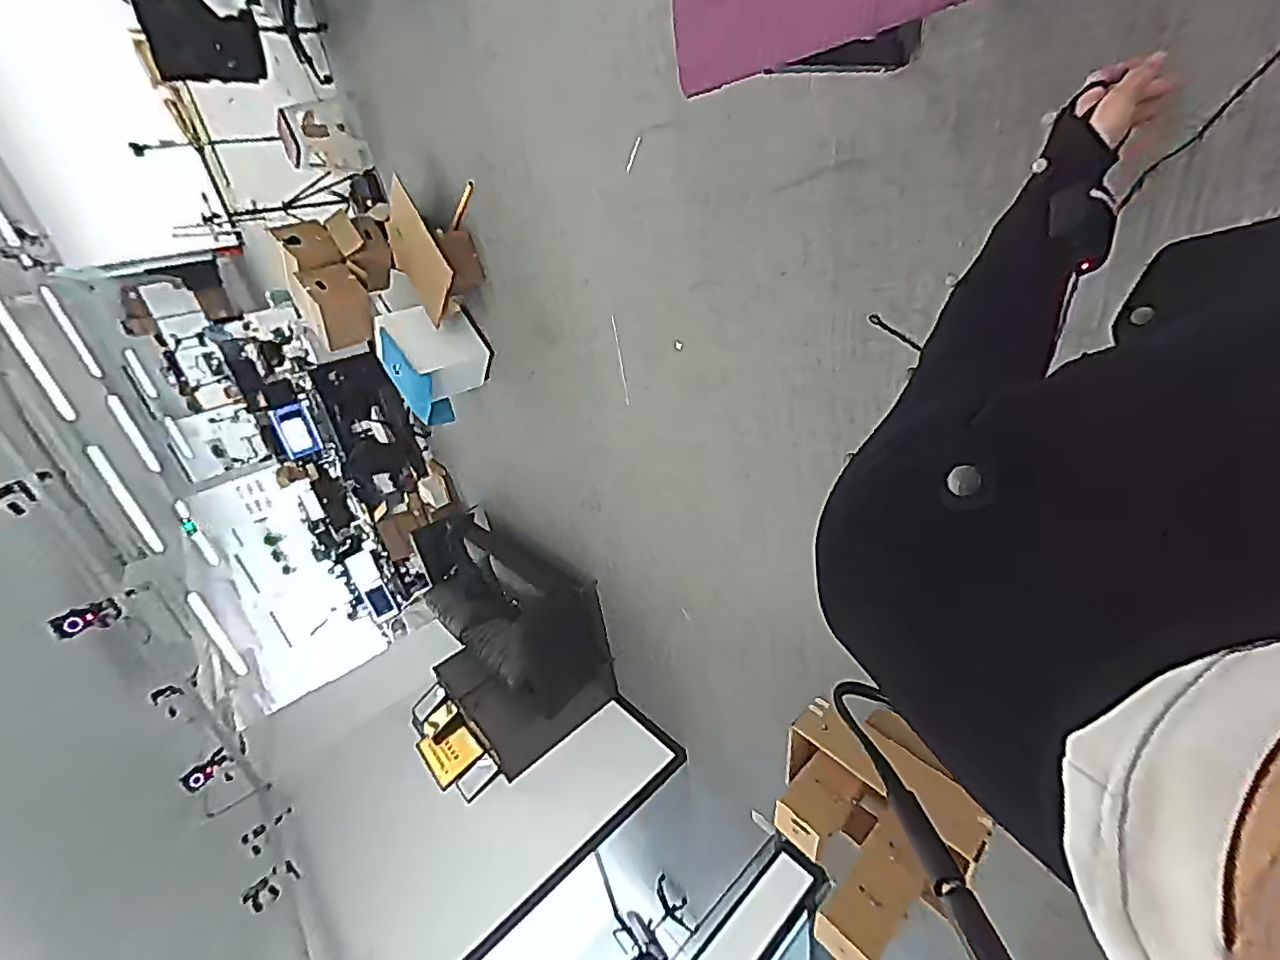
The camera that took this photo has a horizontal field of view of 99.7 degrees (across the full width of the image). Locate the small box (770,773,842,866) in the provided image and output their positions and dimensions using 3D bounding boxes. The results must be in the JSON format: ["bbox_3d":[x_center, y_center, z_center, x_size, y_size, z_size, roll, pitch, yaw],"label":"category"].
[{"bbox_3d":[0.564,1.143,1.834,0.168,0.176,0.179,29,135,41],"label":"small box"}]

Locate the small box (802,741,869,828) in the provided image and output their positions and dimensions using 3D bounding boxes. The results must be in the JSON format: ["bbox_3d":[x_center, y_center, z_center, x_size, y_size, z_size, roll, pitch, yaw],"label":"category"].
[{"bbox_3d":[0.688,1.079,1.921,0.168,0.176,0.179,28,133,42],"label":"small box"}]

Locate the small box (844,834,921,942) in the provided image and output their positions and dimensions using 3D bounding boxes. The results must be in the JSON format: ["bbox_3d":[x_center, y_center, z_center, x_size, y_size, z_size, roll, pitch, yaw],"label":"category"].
[{"bbox_3d":[0.739,1.249,1.663,0.168,0.176,0.179,26,133,43],"label":"small box"}]

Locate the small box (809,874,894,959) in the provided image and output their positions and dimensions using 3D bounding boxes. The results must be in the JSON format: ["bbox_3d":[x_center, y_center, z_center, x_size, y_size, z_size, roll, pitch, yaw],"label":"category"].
[{"bbox_3d":[0.616,1.312,1.578,0.168,0.176,0.179,27,134,42],"label":"small box"}]
